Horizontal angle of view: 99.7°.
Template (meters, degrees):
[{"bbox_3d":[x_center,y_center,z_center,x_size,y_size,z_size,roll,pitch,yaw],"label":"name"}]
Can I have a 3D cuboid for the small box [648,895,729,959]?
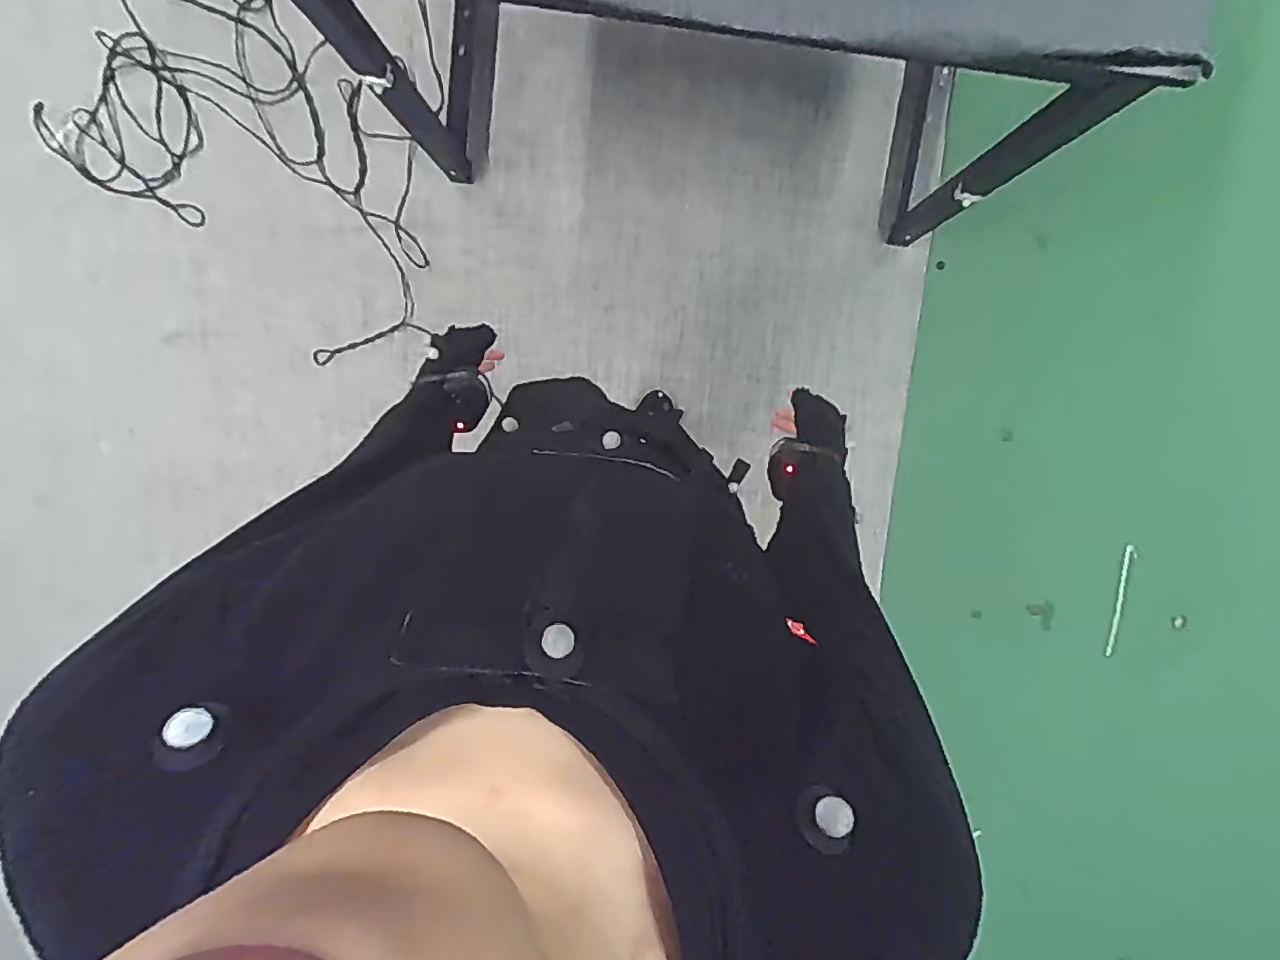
[{"bbox_3d":[0.114,1.190,1.355,0.179,0.176,0.168,9,98,0],"label":"small box"}]
